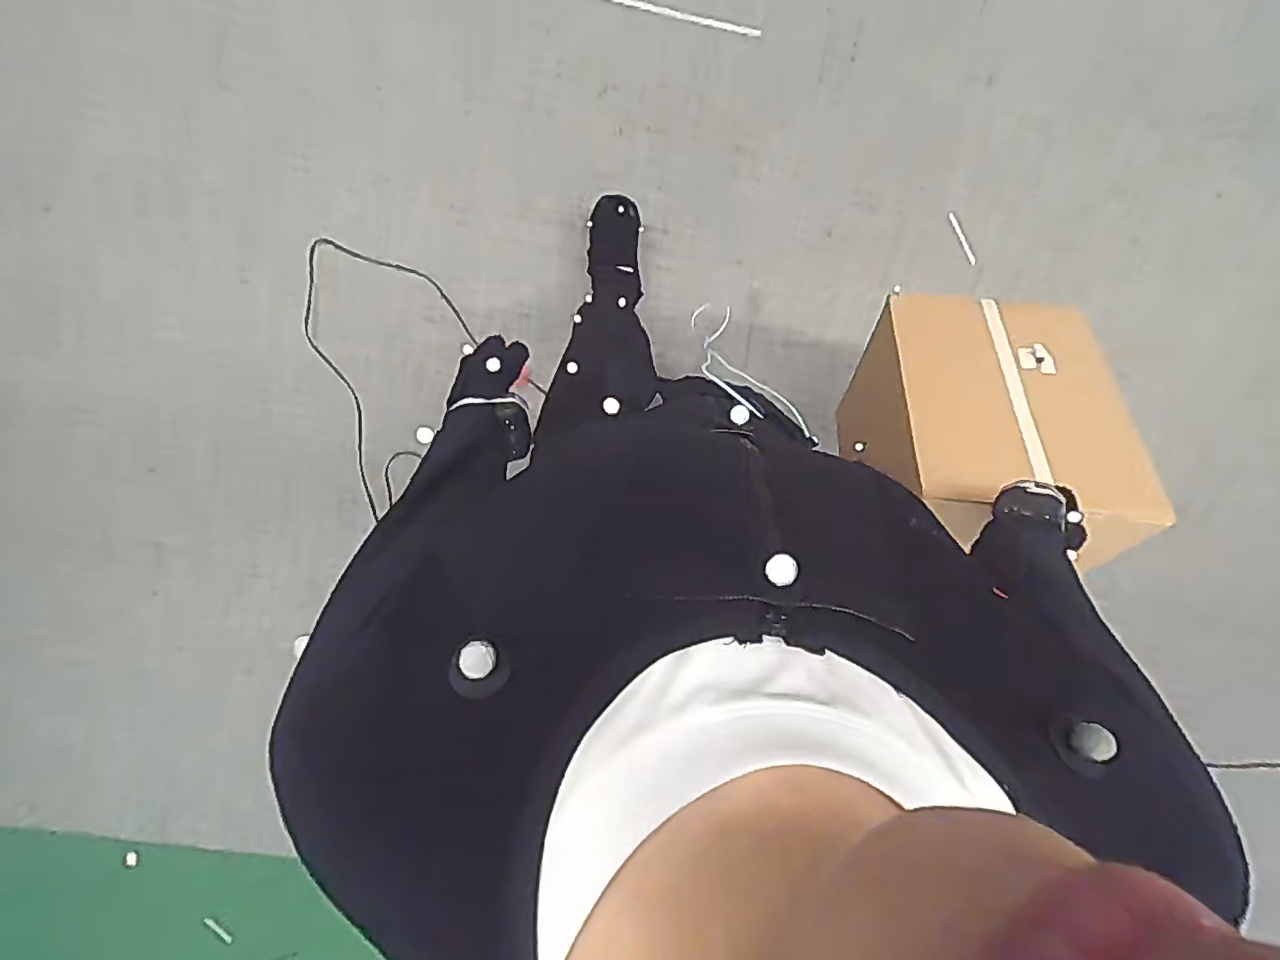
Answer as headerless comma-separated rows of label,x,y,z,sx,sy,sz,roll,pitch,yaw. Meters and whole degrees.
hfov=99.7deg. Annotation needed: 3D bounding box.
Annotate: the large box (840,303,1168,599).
large box,0.556,-0.045,0.935,0.320,0.408,0.320,6,147,4
